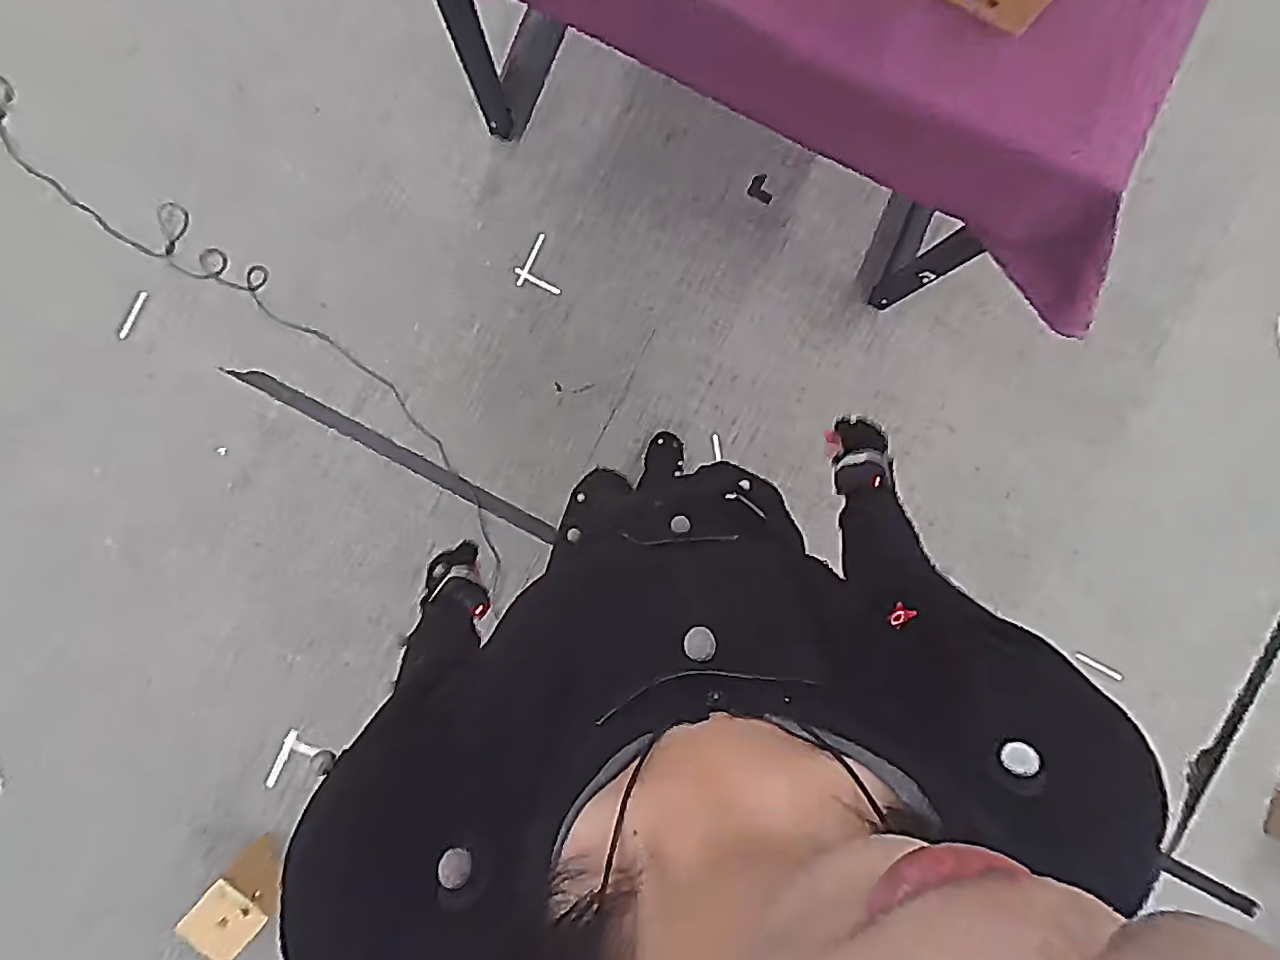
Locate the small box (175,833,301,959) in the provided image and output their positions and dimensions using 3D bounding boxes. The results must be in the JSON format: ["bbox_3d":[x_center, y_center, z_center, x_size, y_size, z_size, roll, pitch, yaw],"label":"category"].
[{"bbox_3d":[-1.063,1.109,1.447,0.168,0.176,0.179,43,91,-3],"label":"small box"}]

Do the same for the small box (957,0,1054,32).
[{"bbox_3d":[0.516,-0.745,0.689,0.168,0.176,0.179,27,92,-1],"label":"small box"}]
